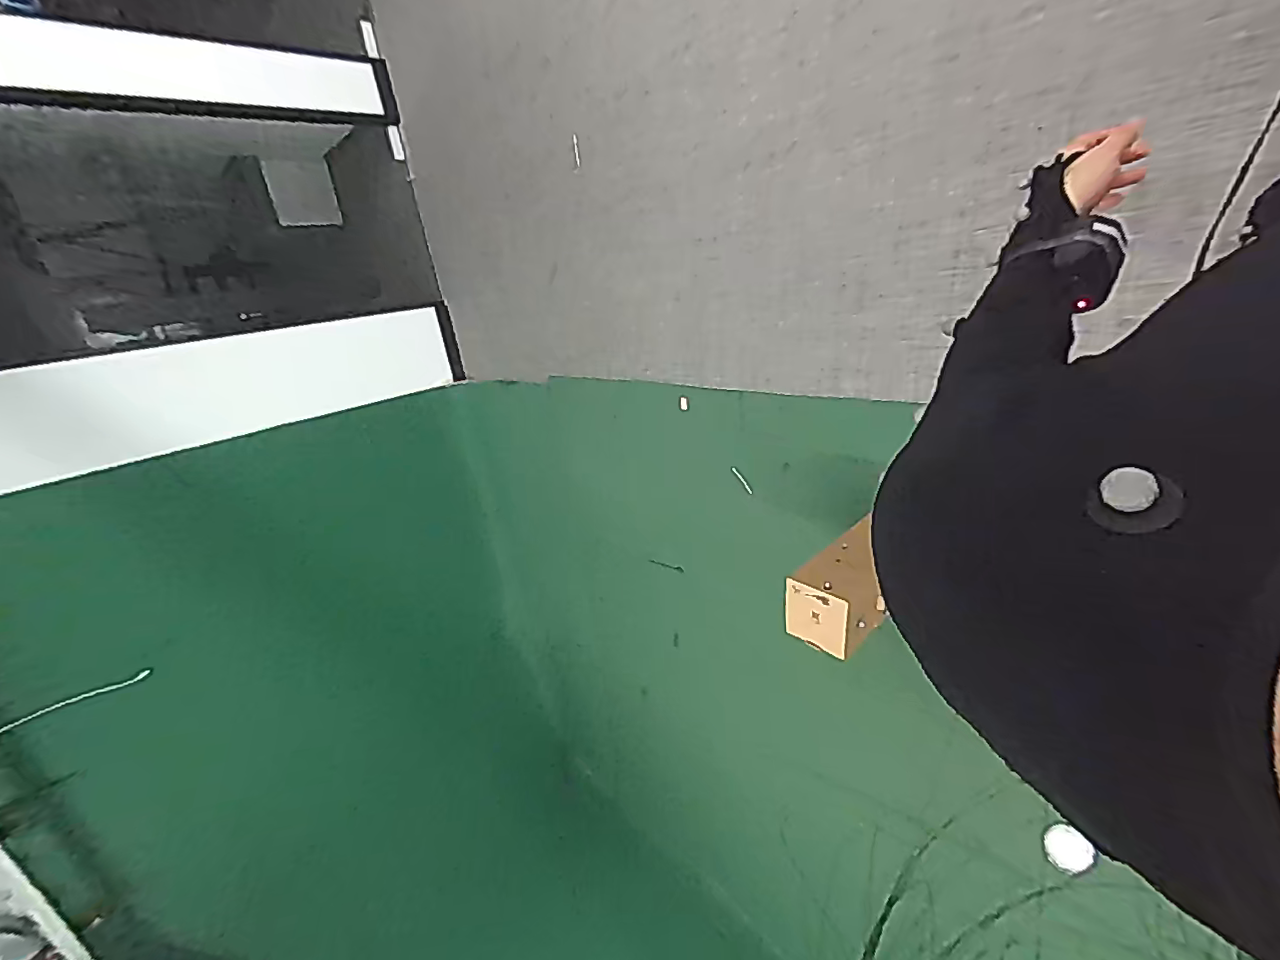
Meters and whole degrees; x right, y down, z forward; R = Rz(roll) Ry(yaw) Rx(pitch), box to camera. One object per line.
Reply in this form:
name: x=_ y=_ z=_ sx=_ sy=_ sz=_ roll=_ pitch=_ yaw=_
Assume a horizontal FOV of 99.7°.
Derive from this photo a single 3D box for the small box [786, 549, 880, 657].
small box: x=0.491 y=0.306 z=1.376 sx=0.168 sy=0.176 sz=0.179 roll=19 pitch=124 yaw=44
